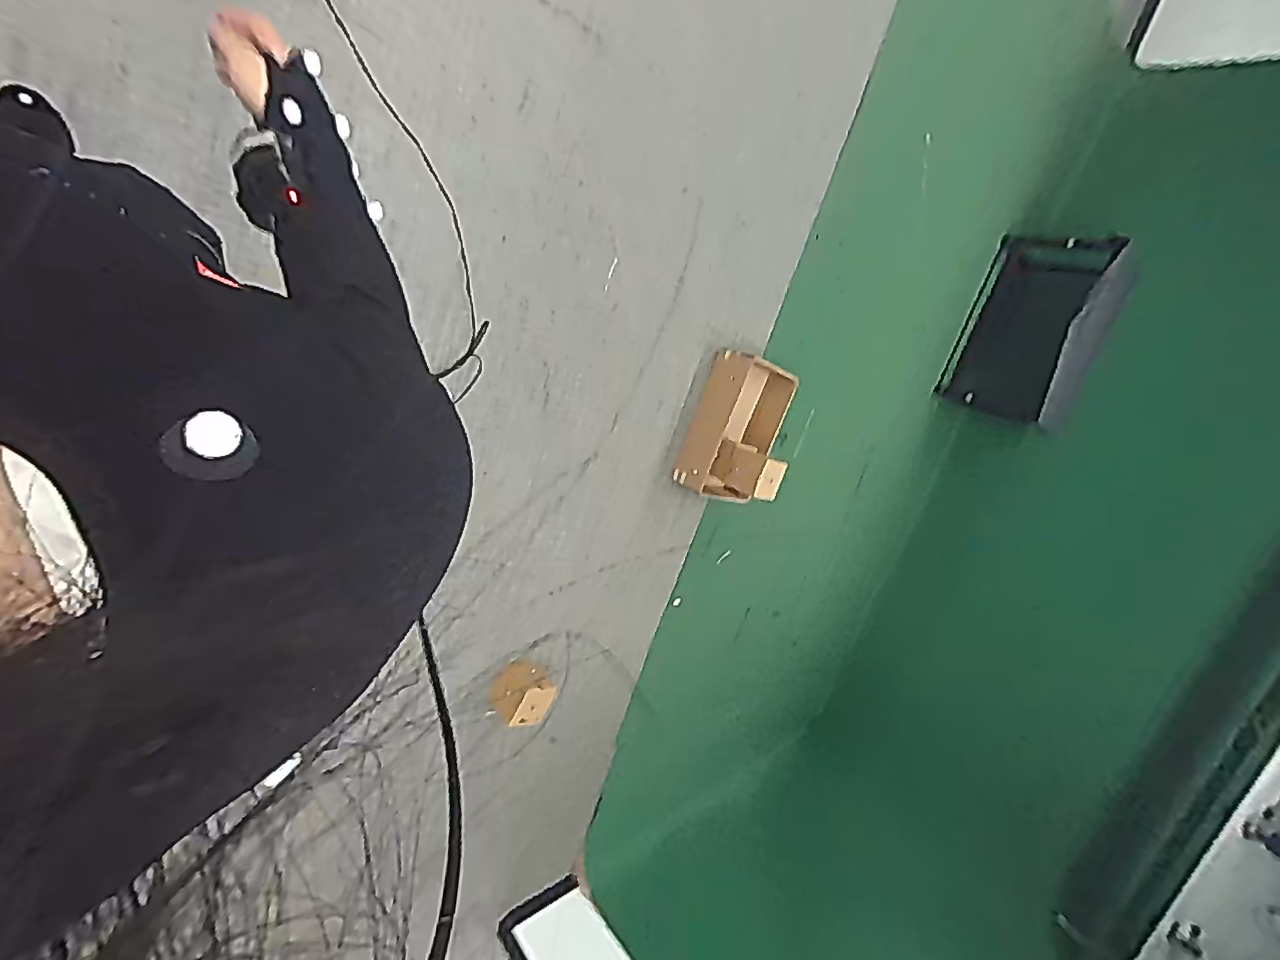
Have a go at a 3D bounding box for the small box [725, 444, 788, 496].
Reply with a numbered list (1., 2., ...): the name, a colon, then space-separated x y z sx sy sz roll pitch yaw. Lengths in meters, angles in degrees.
1. small box: 0.492 -0.042 2.291 0.179 0.176 0.168 8 105 -46

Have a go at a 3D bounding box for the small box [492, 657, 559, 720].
1. small box: -0.466 0.832 2.174 0.168 0.176 0.179 24 94 -49
